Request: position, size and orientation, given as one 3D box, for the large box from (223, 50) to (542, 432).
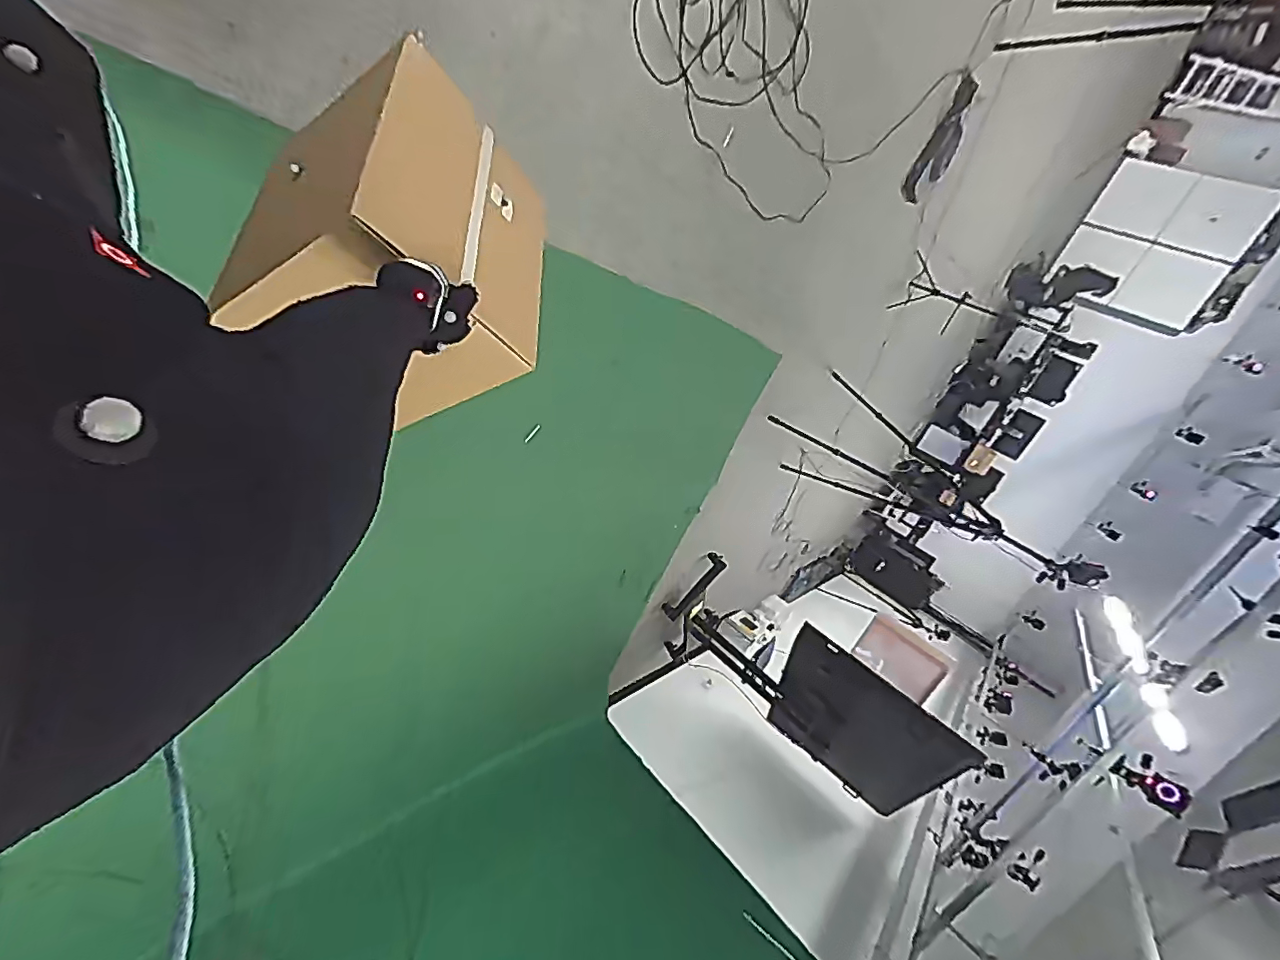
[{"bbox_3d":[-0.377,-0.350,0.870,0.320,0.408,0.320,-18,148,24],"label":"large box"}]
